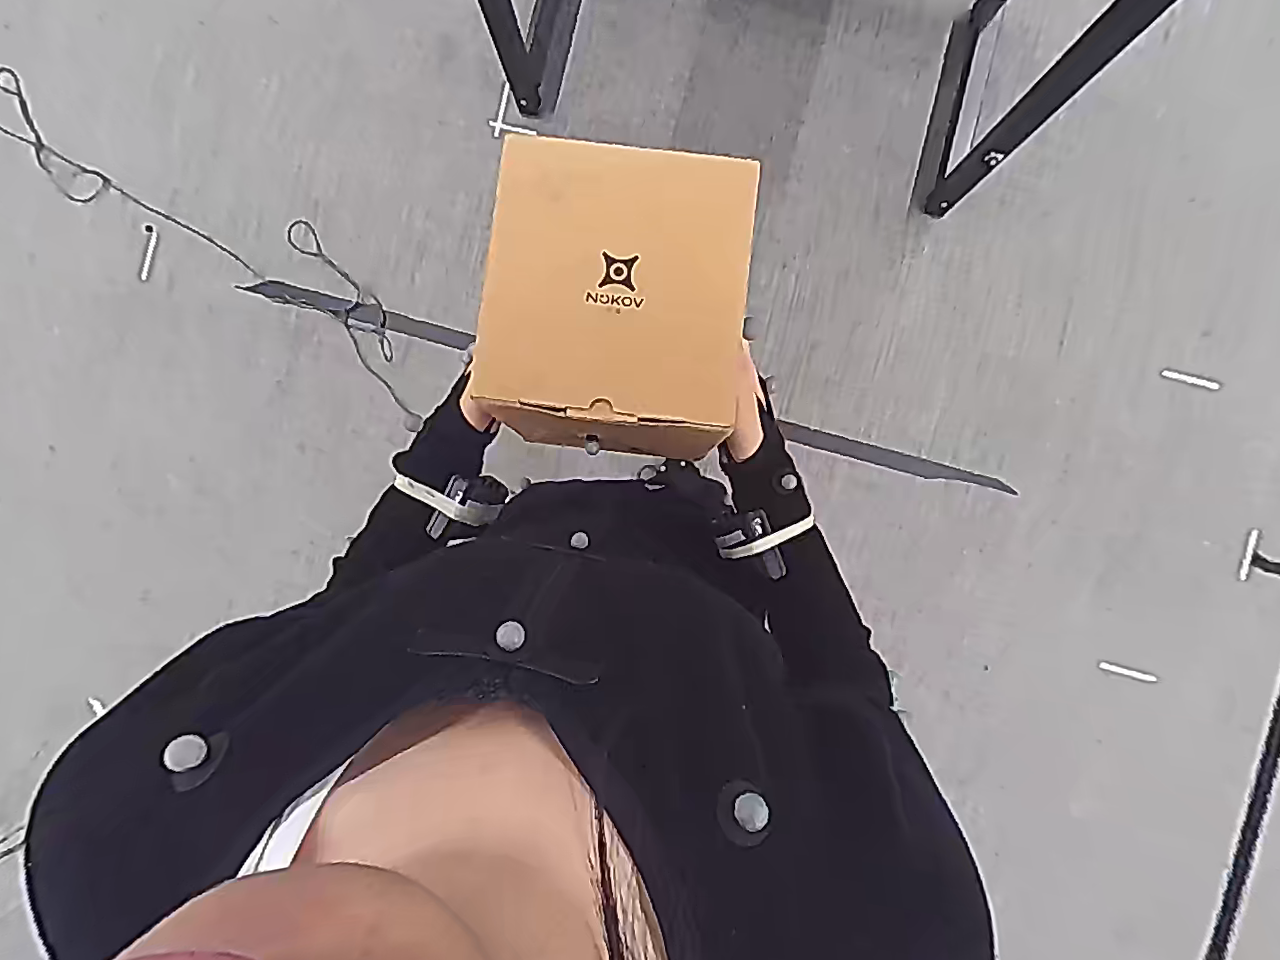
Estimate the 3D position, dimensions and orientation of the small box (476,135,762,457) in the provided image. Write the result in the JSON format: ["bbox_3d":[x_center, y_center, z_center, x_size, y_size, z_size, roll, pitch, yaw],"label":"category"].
[{"bbox_3d":[-0.013,-0.120,0.419,0.168,0.176,0.179,6,87,0],"label":"small box"}]
